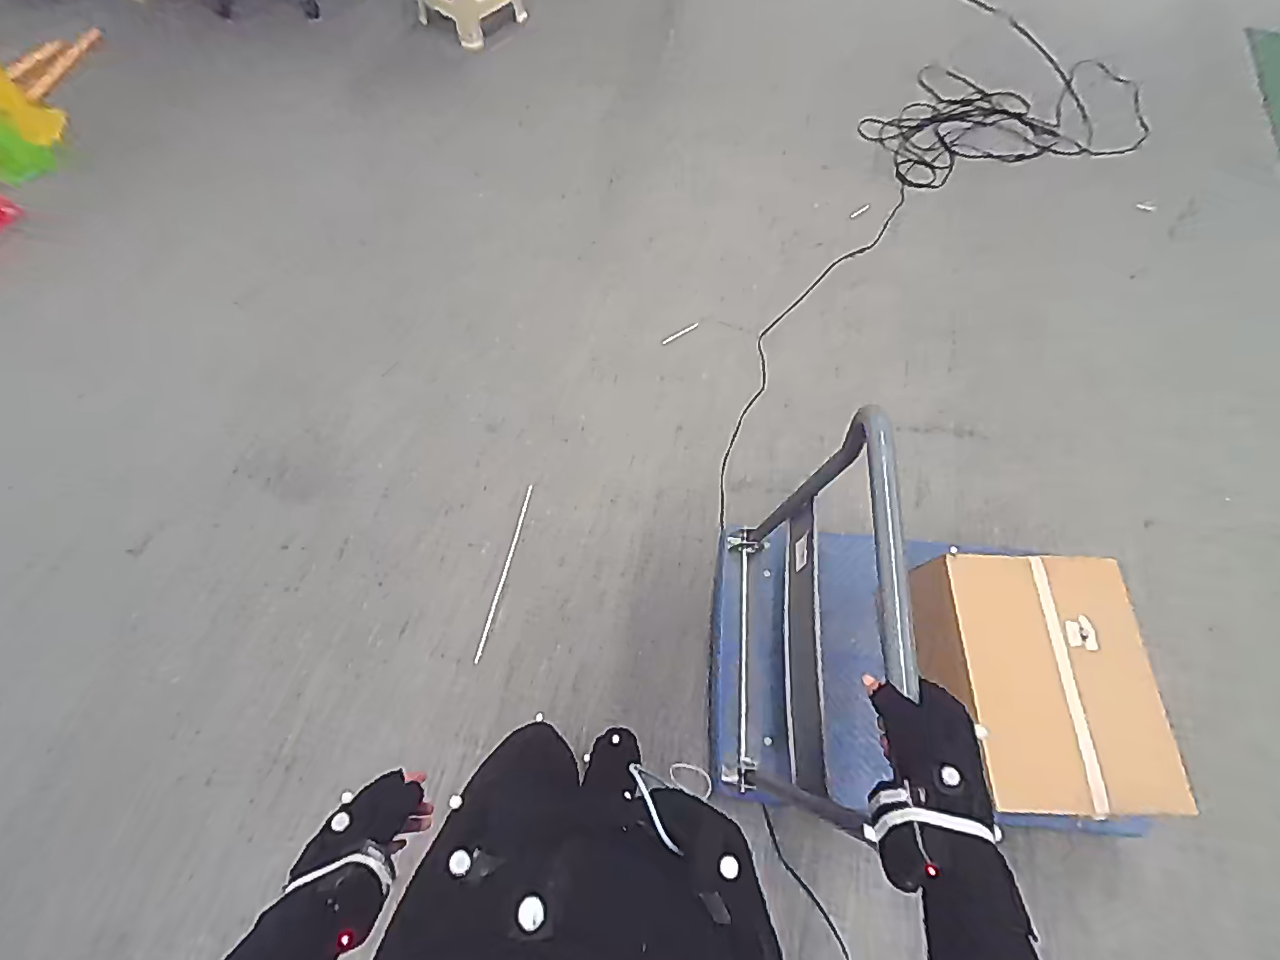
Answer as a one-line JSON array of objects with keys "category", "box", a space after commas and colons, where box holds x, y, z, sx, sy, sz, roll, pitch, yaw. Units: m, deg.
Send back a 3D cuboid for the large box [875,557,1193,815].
[{"category": "large box", "box": [0.685, 0.384, 1.028, 0.320, 0.320, 0.408, 2, 66, -1]}]
